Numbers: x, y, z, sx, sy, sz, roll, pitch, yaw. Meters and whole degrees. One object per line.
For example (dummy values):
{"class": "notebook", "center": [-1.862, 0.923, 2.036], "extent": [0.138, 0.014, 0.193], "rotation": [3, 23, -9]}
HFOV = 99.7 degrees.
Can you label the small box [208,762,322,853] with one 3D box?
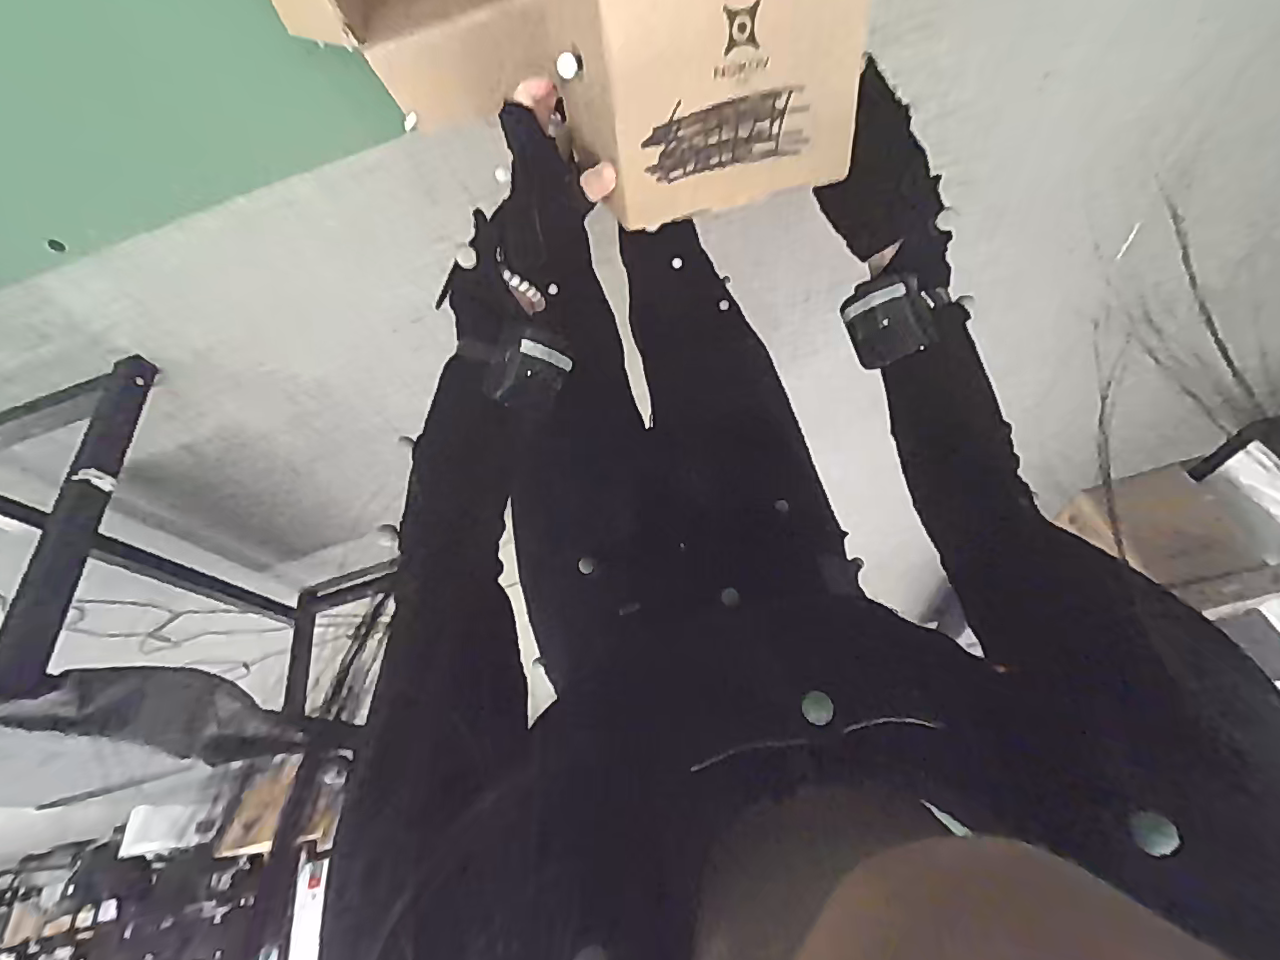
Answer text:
{"class": "small box", "center": [-0.972, 0.858, 1.420], "extent": [0.179, 0.176, 0.168], "rotation": [-19, 146, 7]}
